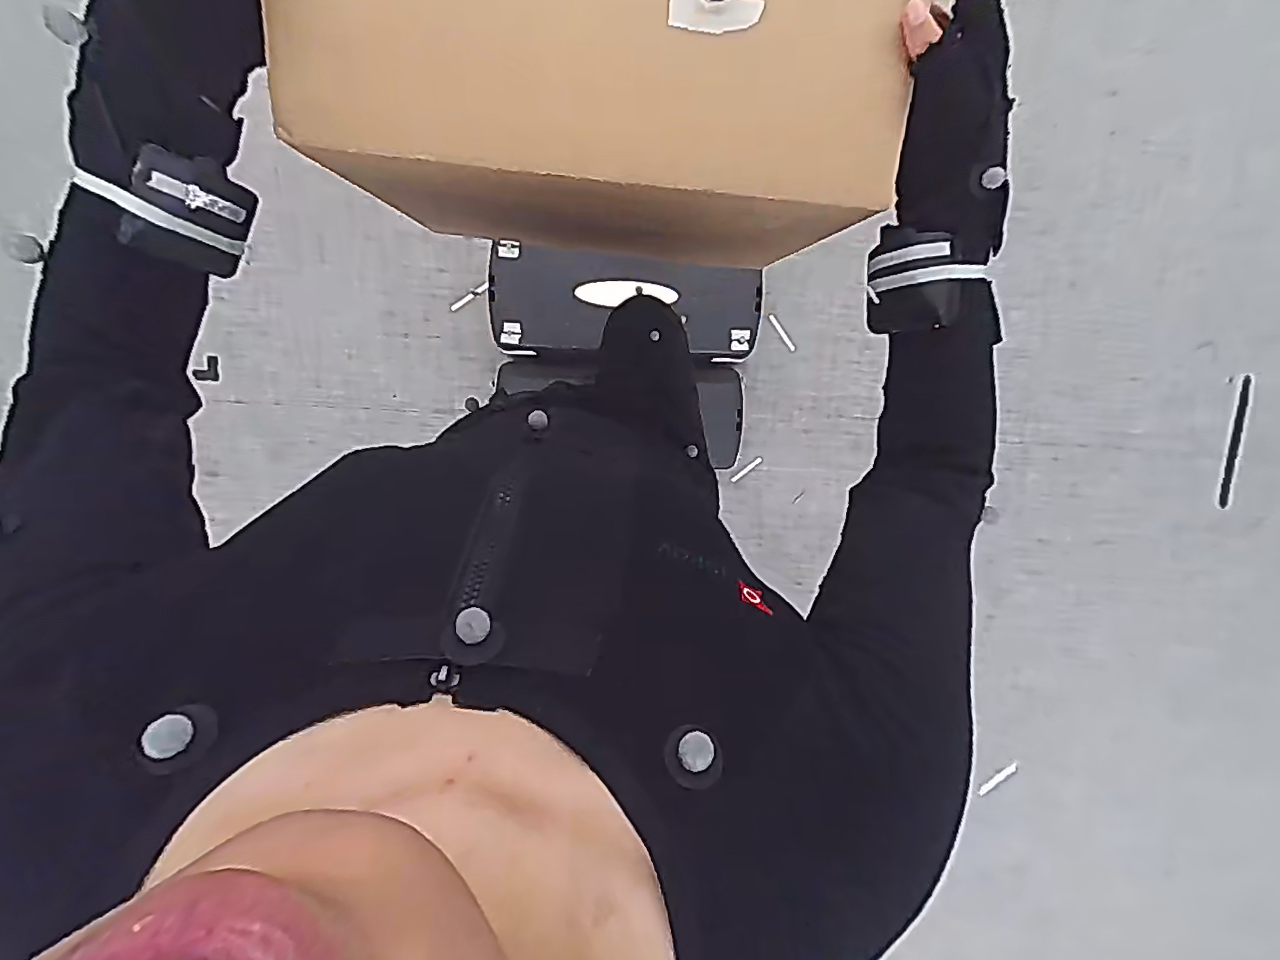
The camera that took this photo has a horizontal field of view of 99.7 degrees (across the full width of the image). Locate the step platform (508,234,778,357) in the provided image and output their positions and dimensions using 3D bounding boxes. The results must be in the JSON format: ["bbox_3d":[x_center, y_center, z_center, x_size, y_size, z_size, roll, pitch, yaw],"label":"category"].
[{"bbox_3d":[0.007,-0.476,1.401,0.684,0.204,0.286,1,99,-3],"label":"step platform"}]

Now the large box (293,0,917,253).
[{"bbox_3d":[-0.022,-0.398,0.474,0.408,0.320,0.320,4,105,-5],"label":"large box"}]
